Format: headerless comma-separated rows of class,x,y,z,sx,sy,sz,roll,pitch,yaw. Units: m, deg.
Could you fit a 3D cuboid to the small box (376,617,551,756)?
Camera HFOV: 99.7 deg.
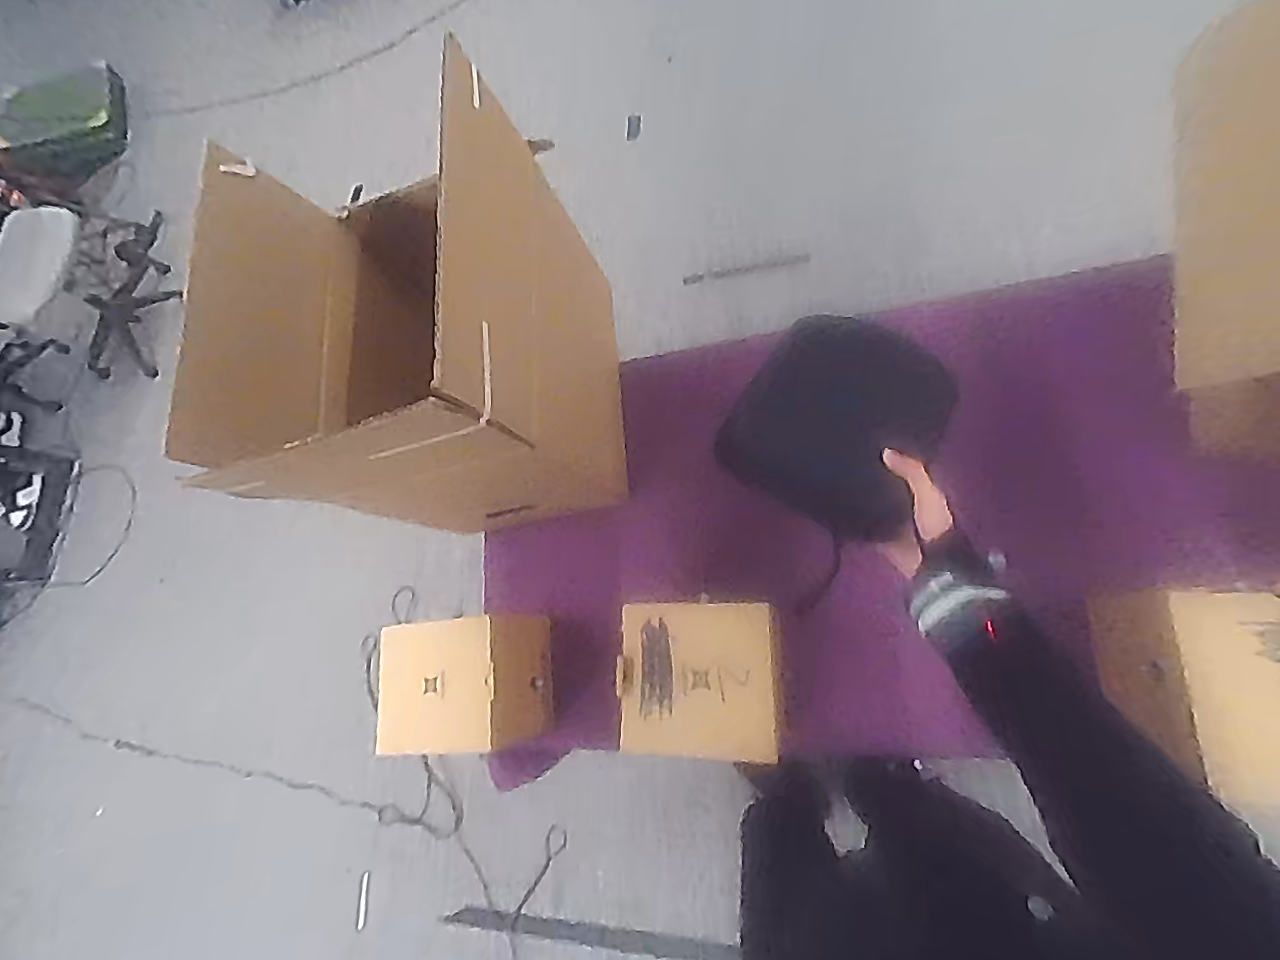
small box,-0.244,0.290,0.777,0.179,0.176,0.168,-10,73,15

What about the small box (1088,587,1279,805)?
small box,0.578,0.198,0.524,0.168,0.176,0.179,-5,75,18
